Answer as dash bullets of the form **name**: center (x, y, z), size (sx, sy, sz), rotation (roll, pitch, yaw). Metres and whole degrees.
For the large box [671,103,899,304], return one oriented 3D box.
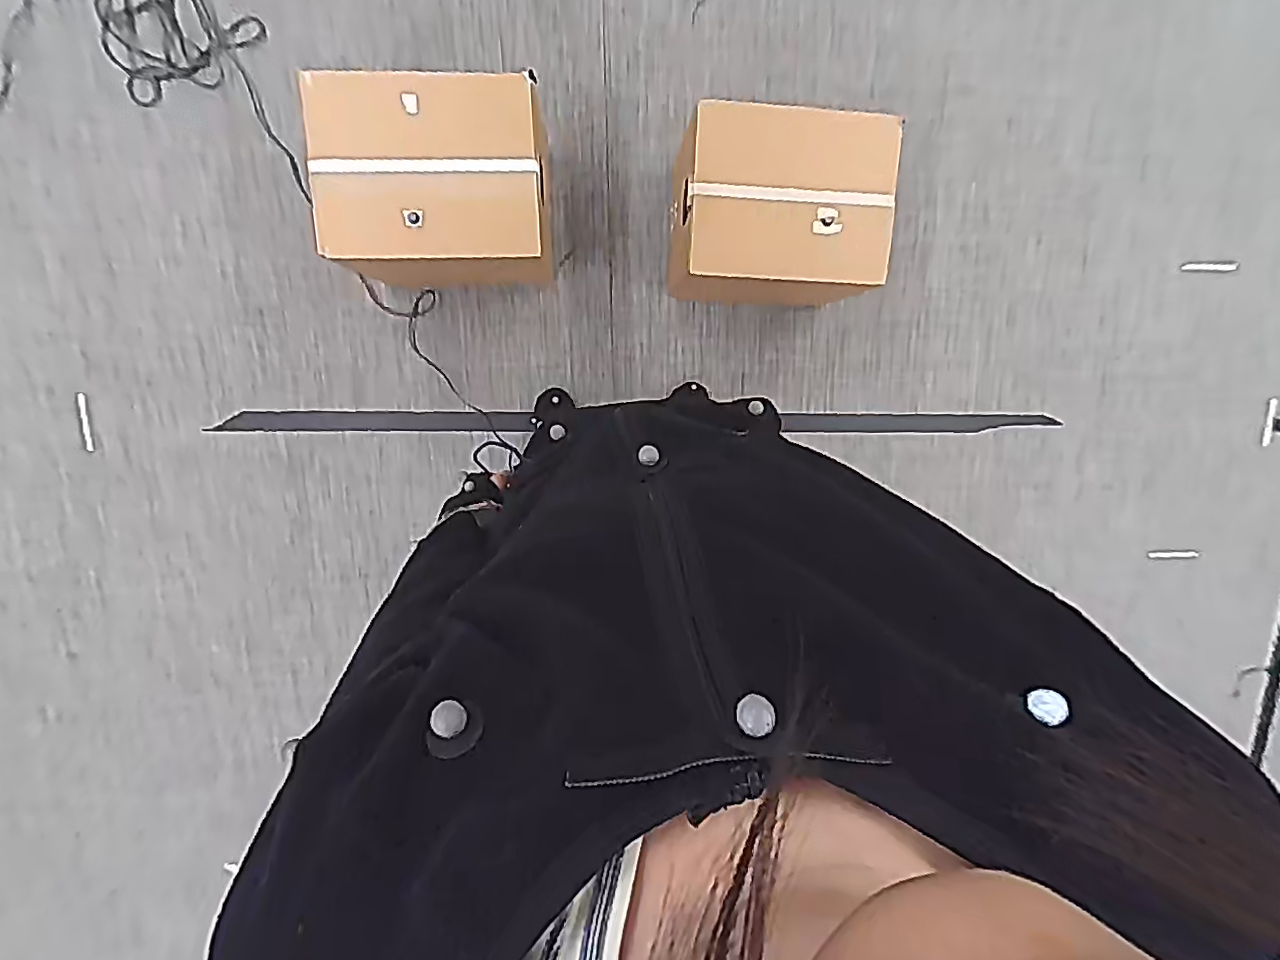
- **large box**: center (0.289, -0.579, 1.202), size (0.408, 0.320, 0.320), rotation (2, 100, -6)
